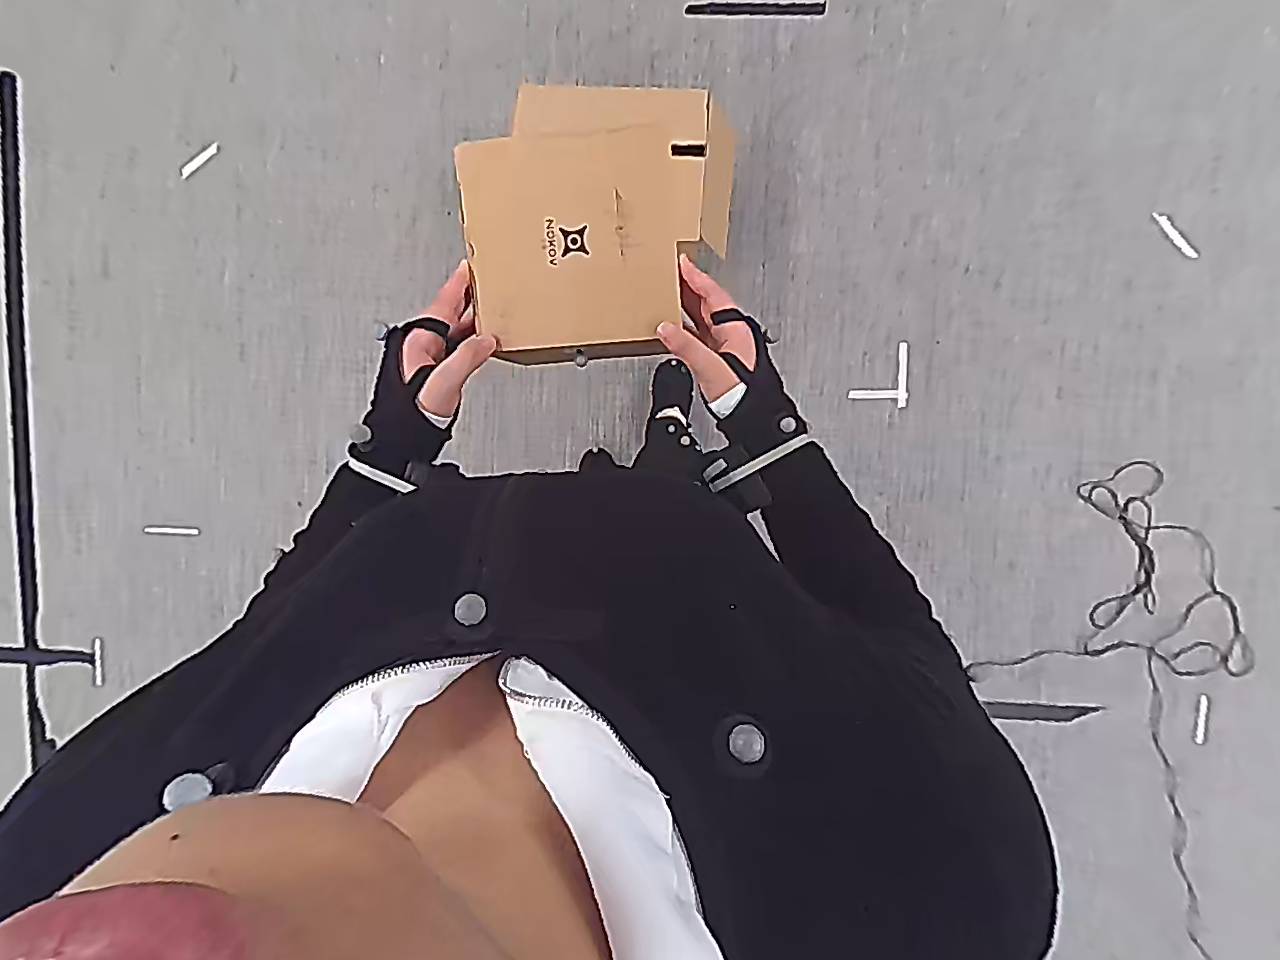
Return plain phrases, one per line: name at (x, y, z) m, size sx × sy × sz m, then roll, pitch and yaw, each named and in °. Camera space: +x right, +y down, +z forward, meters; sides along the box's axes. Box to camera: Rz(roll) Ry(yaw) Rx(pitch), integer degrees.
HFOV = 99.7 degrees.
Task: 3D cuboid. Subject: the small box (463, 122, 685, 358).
small box at (-0.052, -0.213, 0.528) m, size 0.179 × 0.176 × 0.168 m, roll -5°, pitch 99°, yaw 1°
